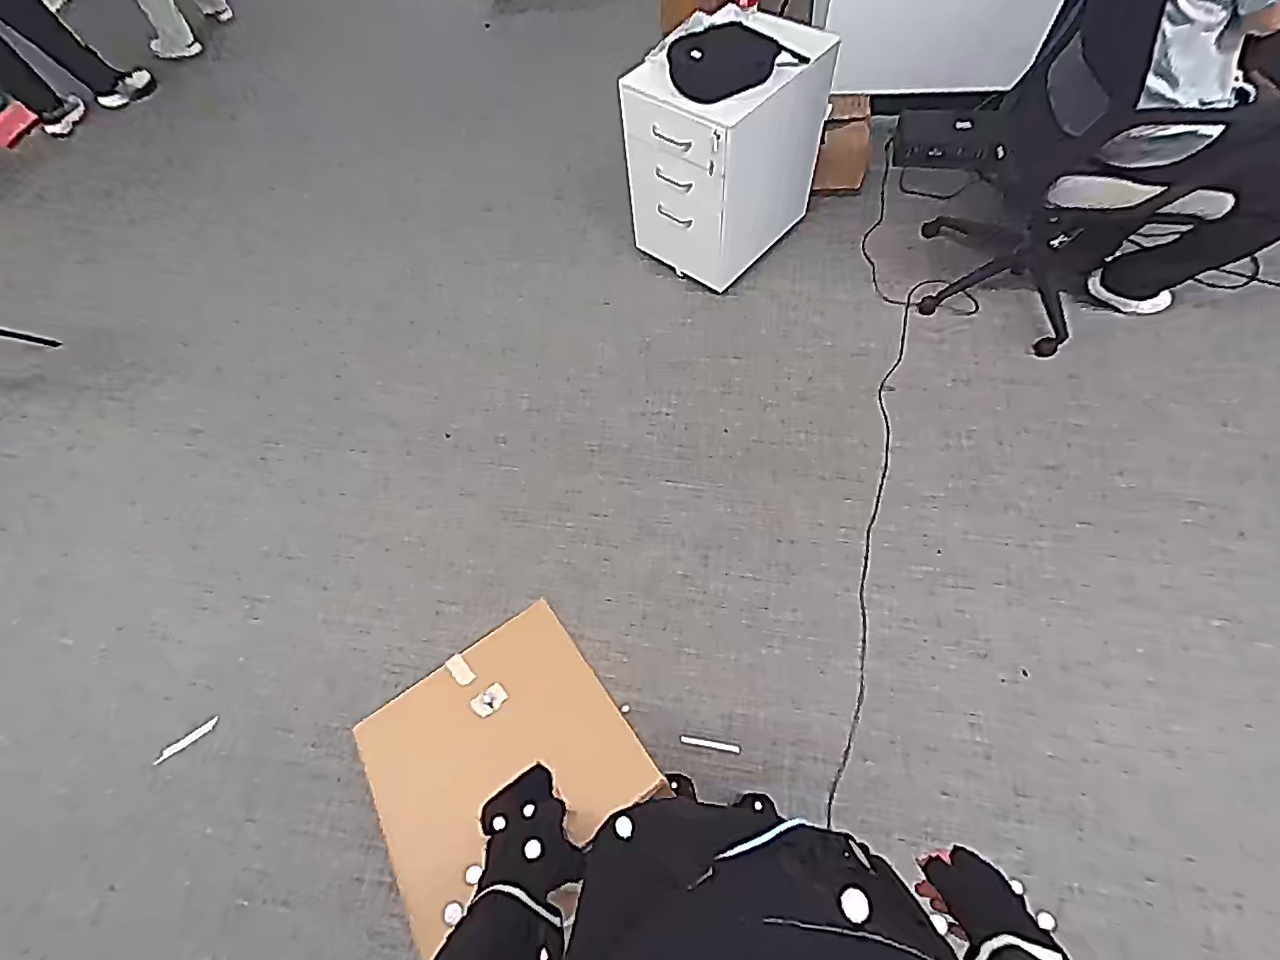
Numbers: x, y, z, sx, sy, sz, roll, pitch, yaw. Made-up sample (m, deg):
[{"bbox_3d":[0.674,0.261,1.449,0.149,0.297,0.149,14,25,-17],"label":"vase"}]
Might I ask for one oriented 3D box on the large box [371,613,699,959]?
[{"bbox_3d":[-0.137,0.478,0.843,0.320,0.408,0.320,-32,53,-14],"label":"large box"}]
